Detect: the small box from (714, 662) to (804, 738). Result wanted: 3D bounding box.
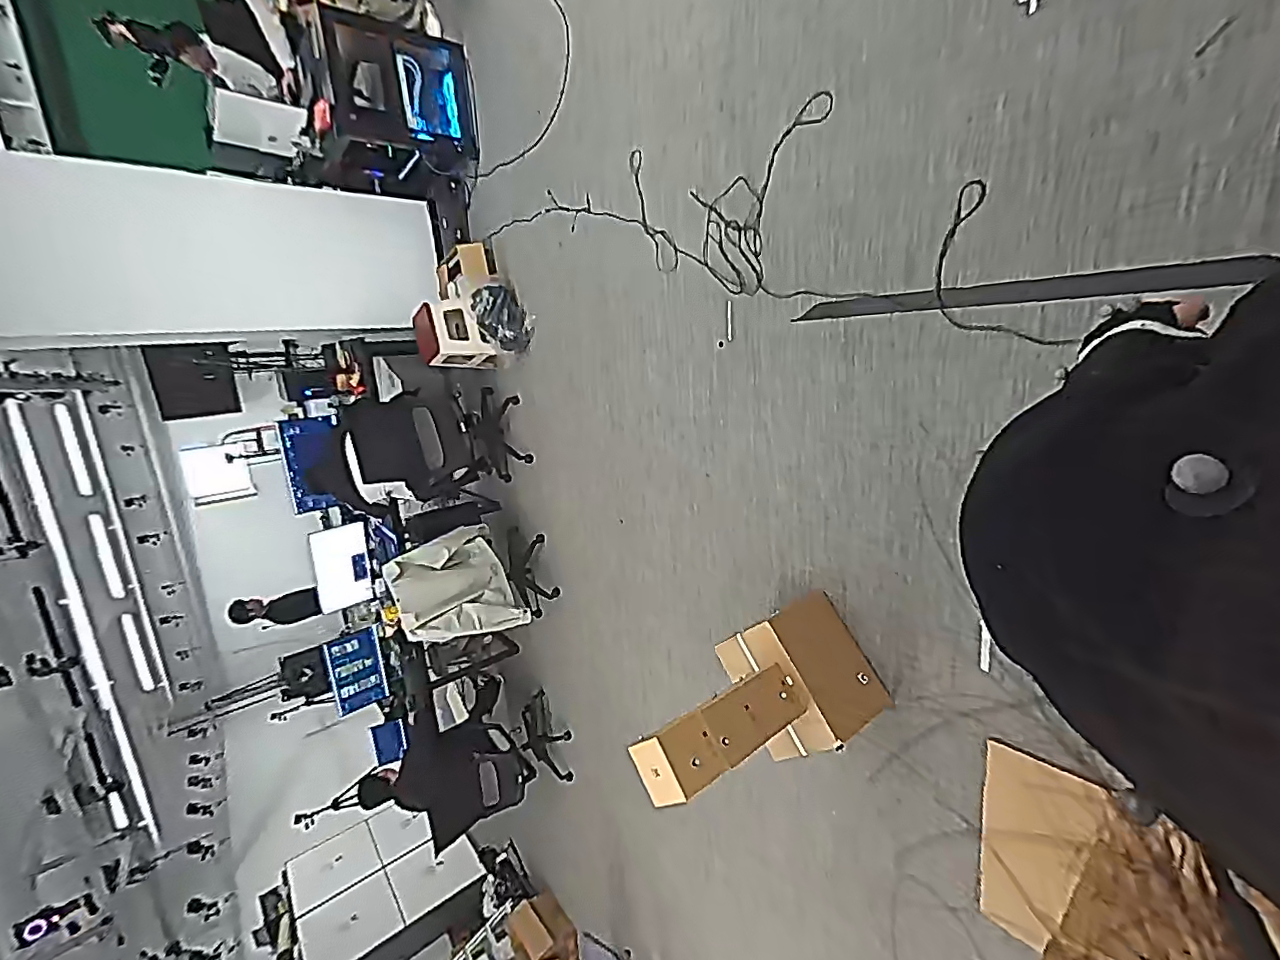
[{"bbox_3d":[0.366,0.685,1.662,0.168,0.176,0.179,61,140,19],"label":"small box"}]

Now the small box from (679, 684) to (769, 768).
[{"bbox_3d":[0.237,0.719,1.567,0.168,0.176,0.179,61,142,19],"label":"small box"}]

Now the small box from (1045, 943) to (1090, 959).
[{"bbox_3d":[0.890,1.079,1.057,0.168,0.176,0.179,-3,100,53],"label":"small box"}]

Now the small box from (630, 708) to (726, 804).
[{"bbox_3d":[0.109,0.747,1.470,0.168,0.176,0.179,61,141,19],"label":"small box"}]

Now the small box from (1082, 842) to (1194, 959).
[{"bbox_3d":[1.145,0.994,1.243,0.168,0.176,0.179,-2,99,51],"label":"small box"}]
